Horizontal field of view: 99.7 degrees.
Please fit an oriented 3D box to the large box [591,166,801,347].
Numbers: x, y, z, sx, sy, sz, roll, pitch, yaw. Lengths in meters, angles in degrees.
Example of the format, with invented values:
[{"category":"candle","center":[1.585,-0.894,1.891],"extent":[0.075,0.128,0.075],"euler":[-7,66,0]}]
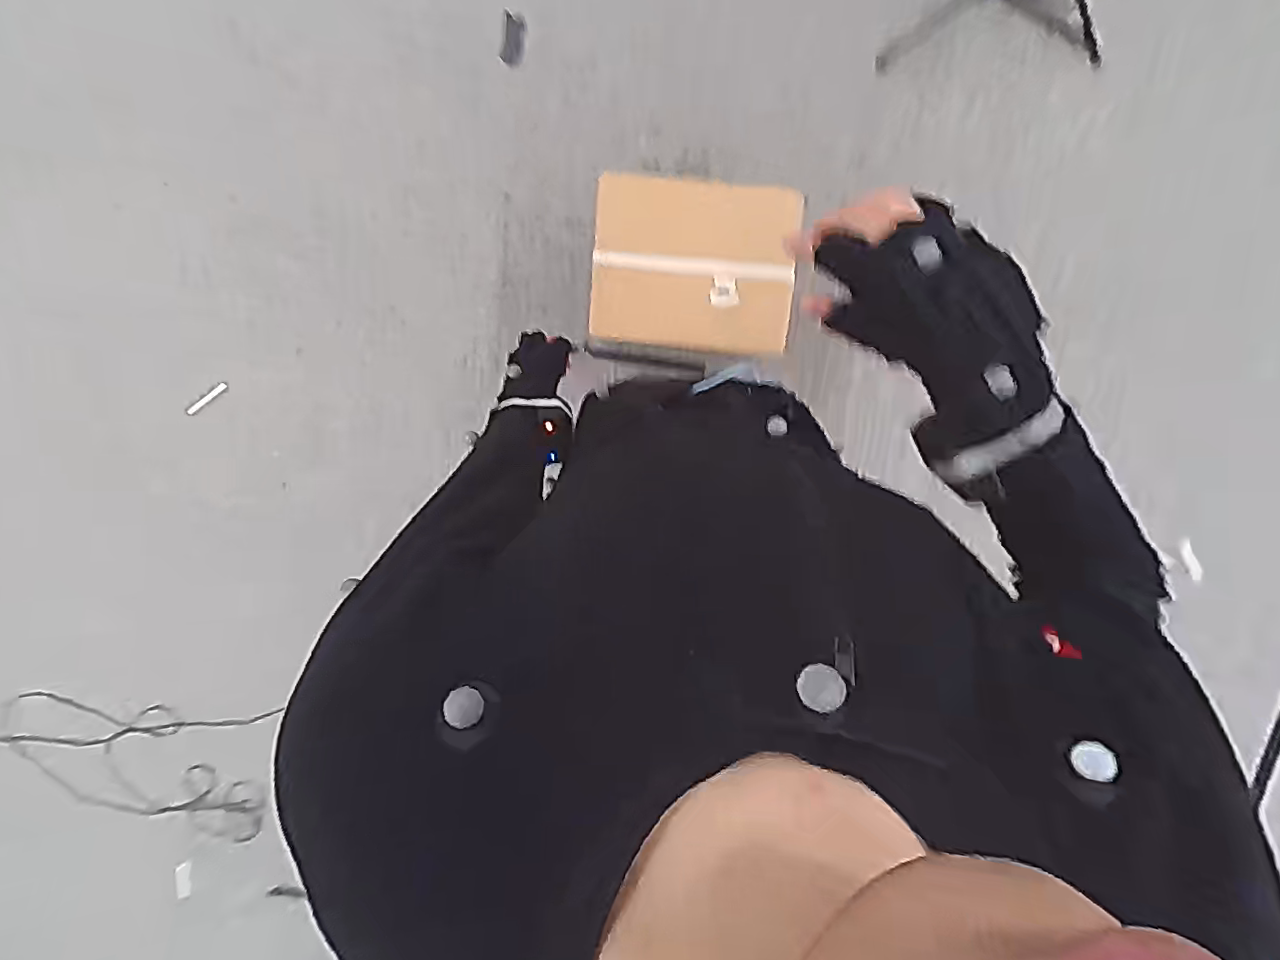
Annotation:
[{"category":"large box","center":[0.105,-0.477,1.227],"extent":[0.408,0.320,0.320],"euler":[5,103,-1]}]
